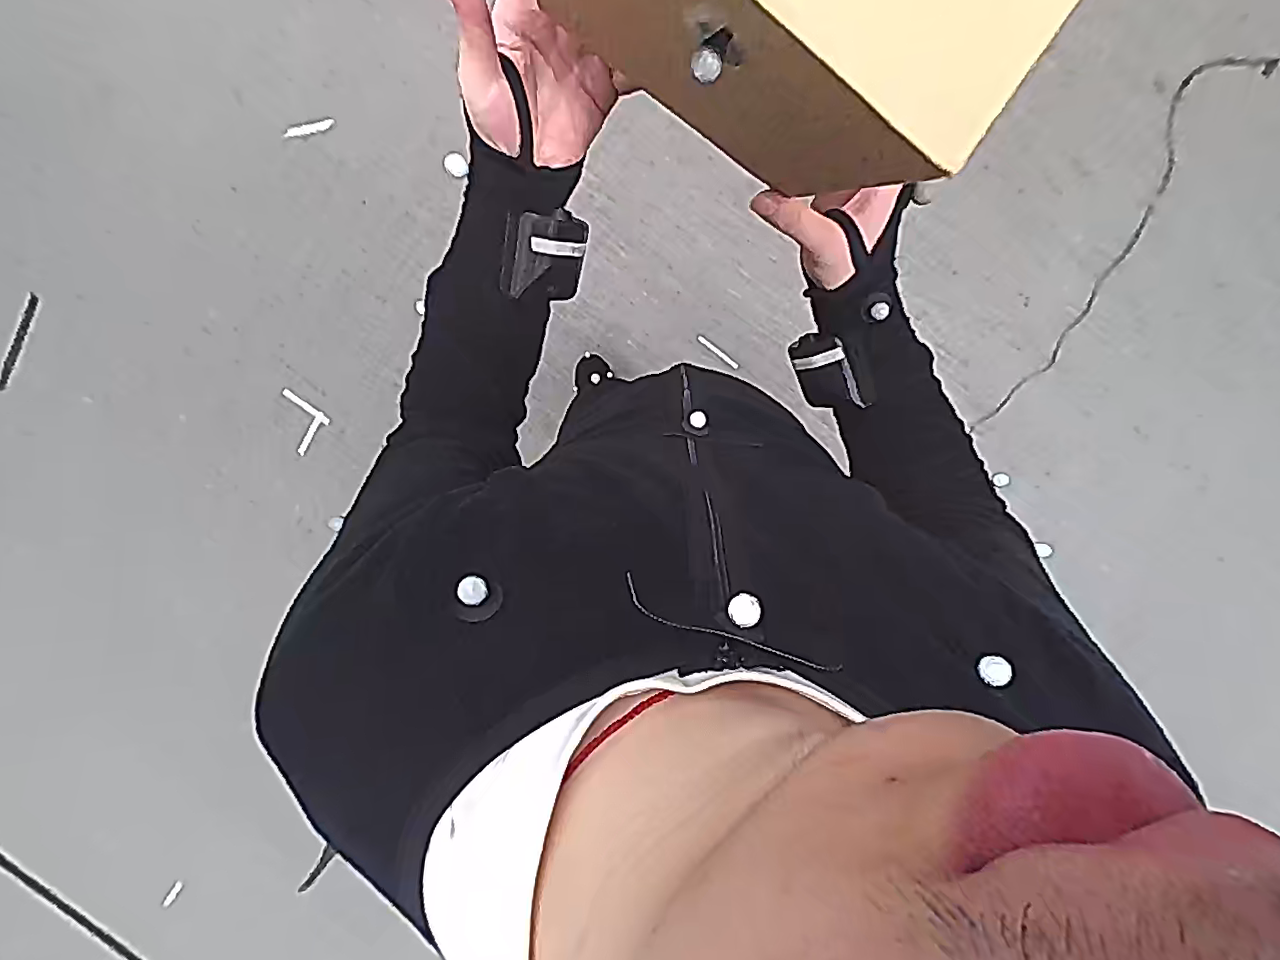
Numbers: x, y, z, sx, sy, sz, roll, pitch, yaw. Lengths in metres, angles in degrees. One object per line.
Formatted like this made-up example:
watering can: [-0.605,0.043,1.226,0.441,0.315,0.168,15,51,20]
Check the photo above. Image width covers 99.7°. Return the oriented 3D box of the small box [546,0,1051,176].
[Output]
small box: [0.067,-0.251,0.223,0.179,0.176,0.168,25,109,-19]
